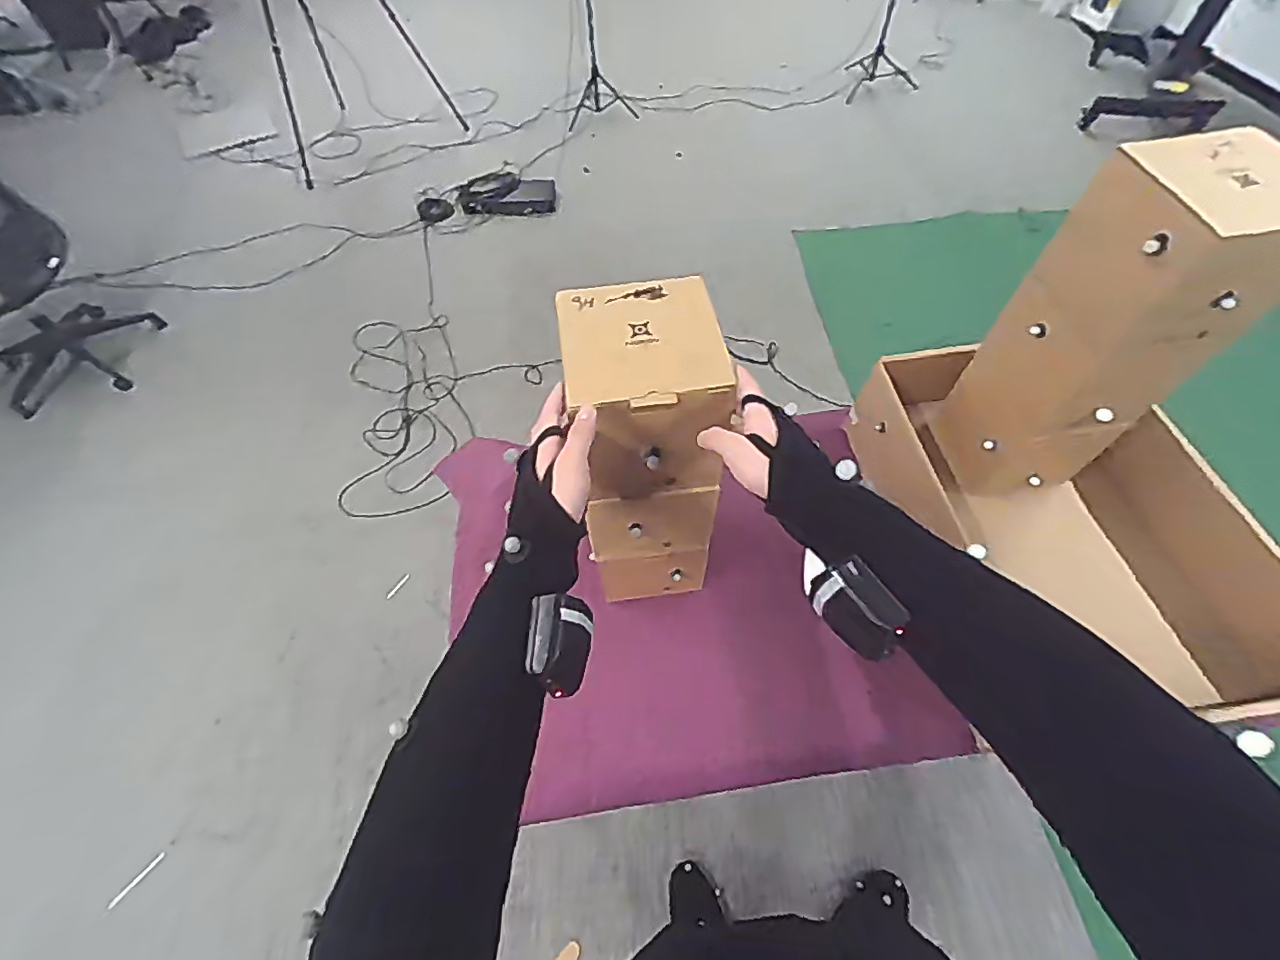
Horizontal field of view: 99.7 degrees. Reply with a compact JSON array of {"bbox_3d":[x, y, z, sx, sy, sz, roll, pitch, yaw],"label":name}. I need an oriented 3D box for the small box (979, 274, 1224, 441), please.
[{"bbox_3d":[0.634,-0.181,0.776,0.168,0.176,0.179,-9,59,-2],"label":"small box"}]

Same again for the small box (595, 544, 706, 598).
[{"bbox_3d":[0.011,0.084,0.892,0.168,0.176,0.179,-7,57,-3],"label":"small box"}]

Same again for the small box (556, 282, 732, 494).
[{"bbox_3d":[0.001,-0.096,0.621,0.168,0.176,0.179,-7,57,-4],"label":"small box"}]

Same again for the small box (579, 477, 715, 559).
[{"bbox_3d":[0.005,-0.001,0.755,0.168,0.176,0.179,-7,56,-3],"label":"small box"}]

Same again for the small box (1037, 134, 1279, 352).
[{"bbox_3d":[0.627,-0.266,0.634,0.168,0.176,0.179,-8,58,-2],"label":"small box"}]
